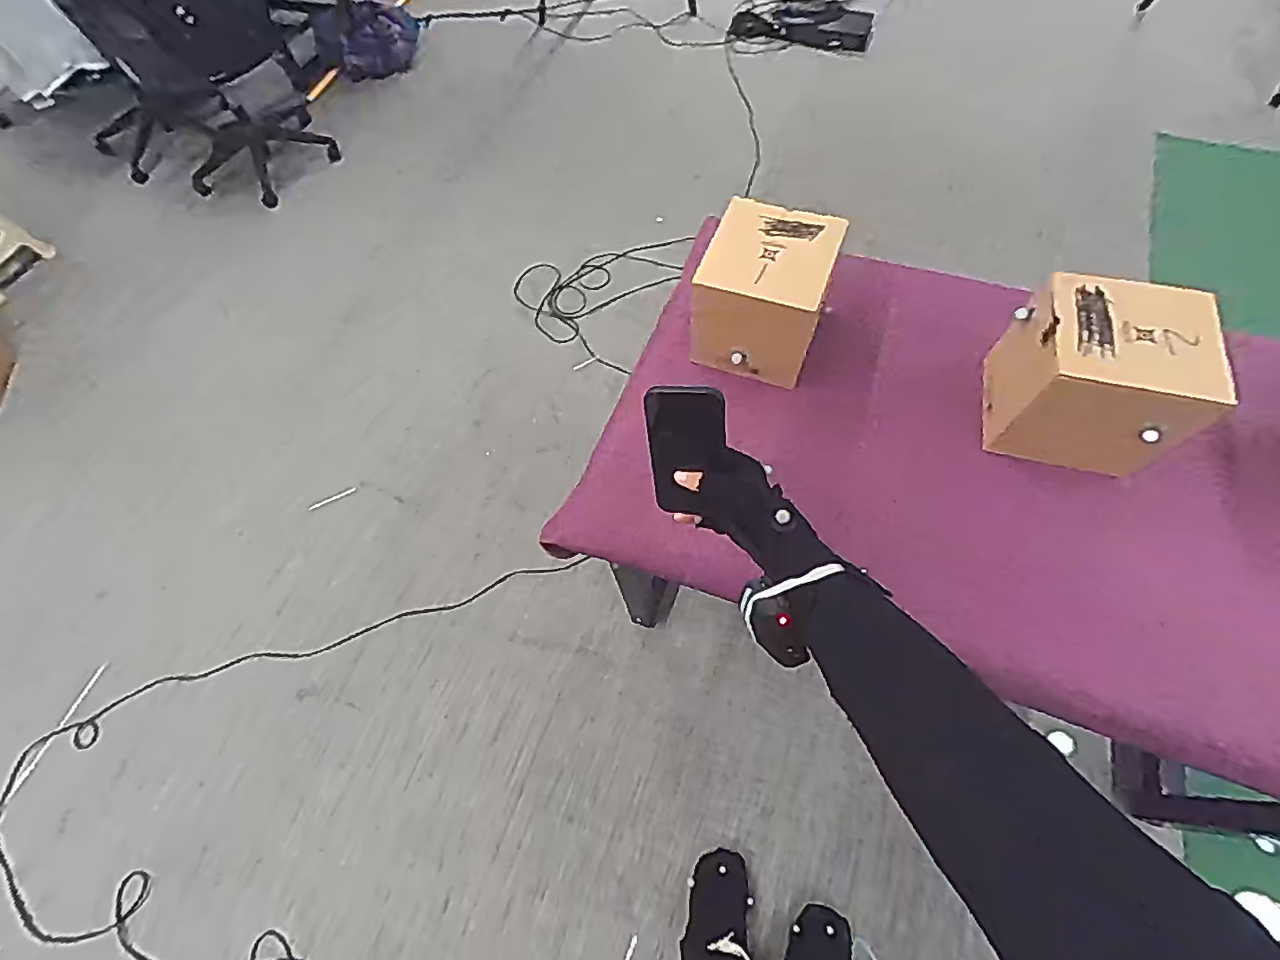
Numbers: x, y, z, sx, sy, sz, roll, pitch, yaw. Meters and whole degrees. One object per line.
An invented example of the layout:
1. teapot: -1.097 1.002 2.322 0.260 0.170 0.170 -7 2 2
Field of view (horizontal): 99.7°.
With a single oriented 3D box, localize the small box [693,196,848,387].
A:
1. small box: 0.179 -0.268 0.785 0.168 0.176 0.179 19 68 14
